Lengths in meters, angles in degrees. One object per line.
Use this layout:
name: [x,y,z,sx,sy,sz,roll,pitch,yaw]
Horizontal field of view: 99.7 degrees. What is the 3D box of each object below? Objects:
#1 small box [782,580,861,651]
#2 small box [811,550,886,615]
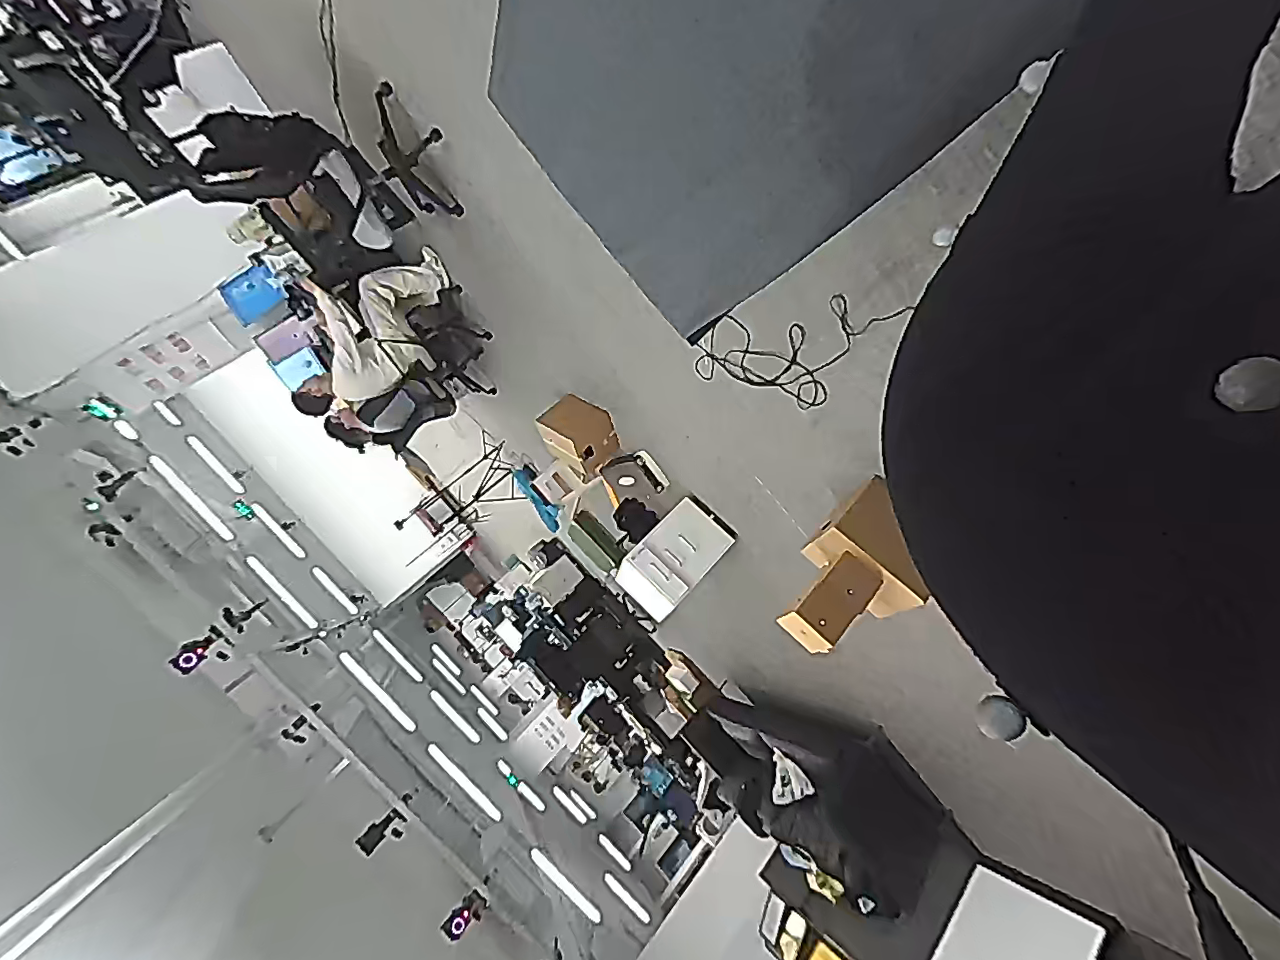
small box: [0.653,0.482,1.947,0.179,0.176,0.168,42,156,10]
small box: [0.772,0.389,2.008,0.179,0.176,0.168,43,156,11]
